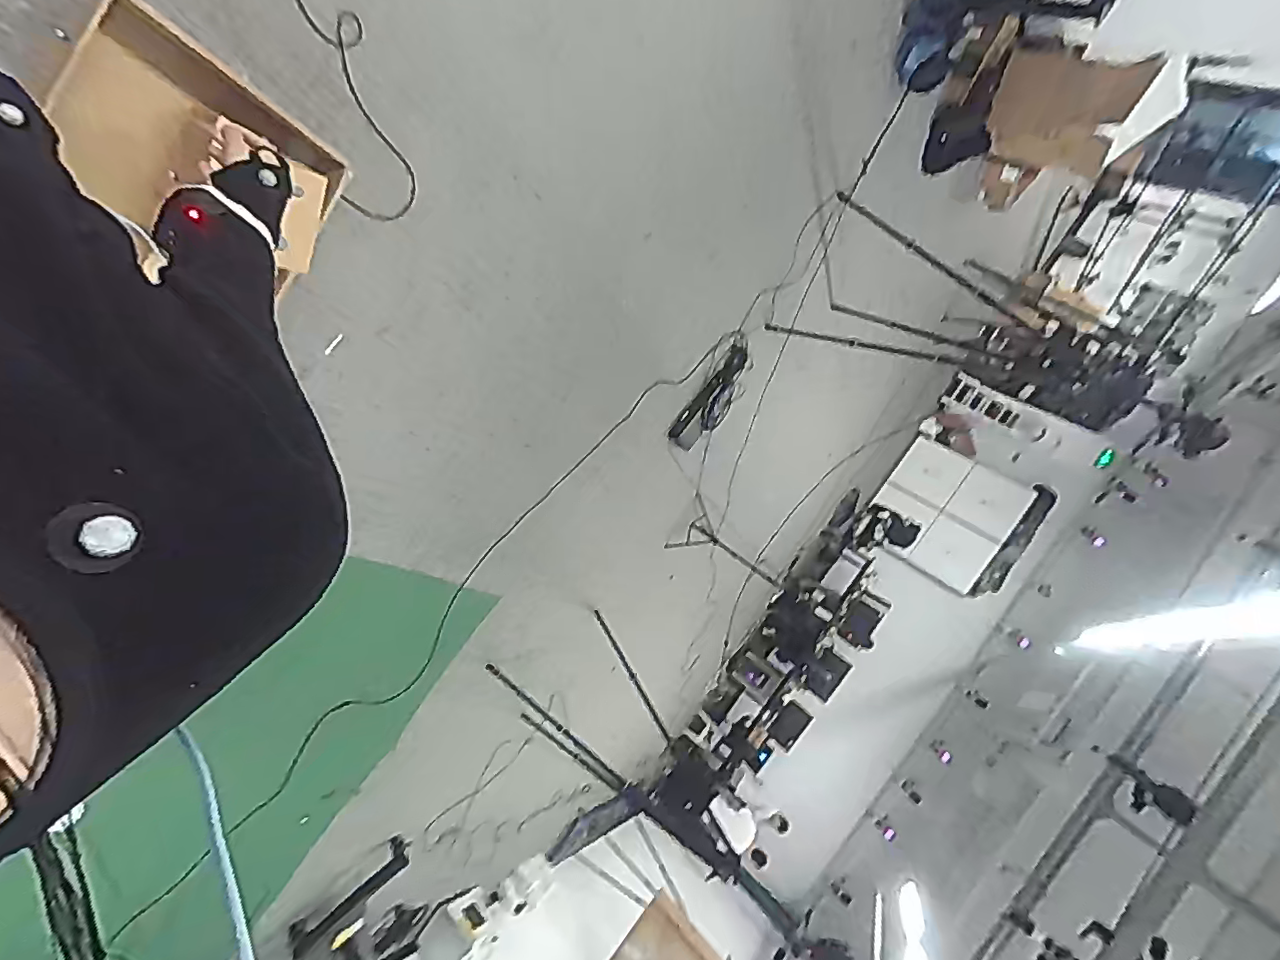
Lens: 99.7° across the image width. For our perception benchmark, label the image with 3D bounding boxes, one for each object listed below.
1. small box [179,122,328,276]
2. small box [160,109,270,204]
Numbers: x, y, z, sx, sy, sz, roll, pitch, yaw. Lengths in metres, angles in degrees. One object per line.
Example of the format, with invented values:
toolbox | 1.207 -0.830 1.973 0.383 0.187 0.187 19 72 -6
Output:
small box | -0.689 -0.494 0.958 0.168 0.176 0.179 -2 122 -53
small box | -0.789 -0.580 1.055 0.179 0.176 0.168 -56 149 5
